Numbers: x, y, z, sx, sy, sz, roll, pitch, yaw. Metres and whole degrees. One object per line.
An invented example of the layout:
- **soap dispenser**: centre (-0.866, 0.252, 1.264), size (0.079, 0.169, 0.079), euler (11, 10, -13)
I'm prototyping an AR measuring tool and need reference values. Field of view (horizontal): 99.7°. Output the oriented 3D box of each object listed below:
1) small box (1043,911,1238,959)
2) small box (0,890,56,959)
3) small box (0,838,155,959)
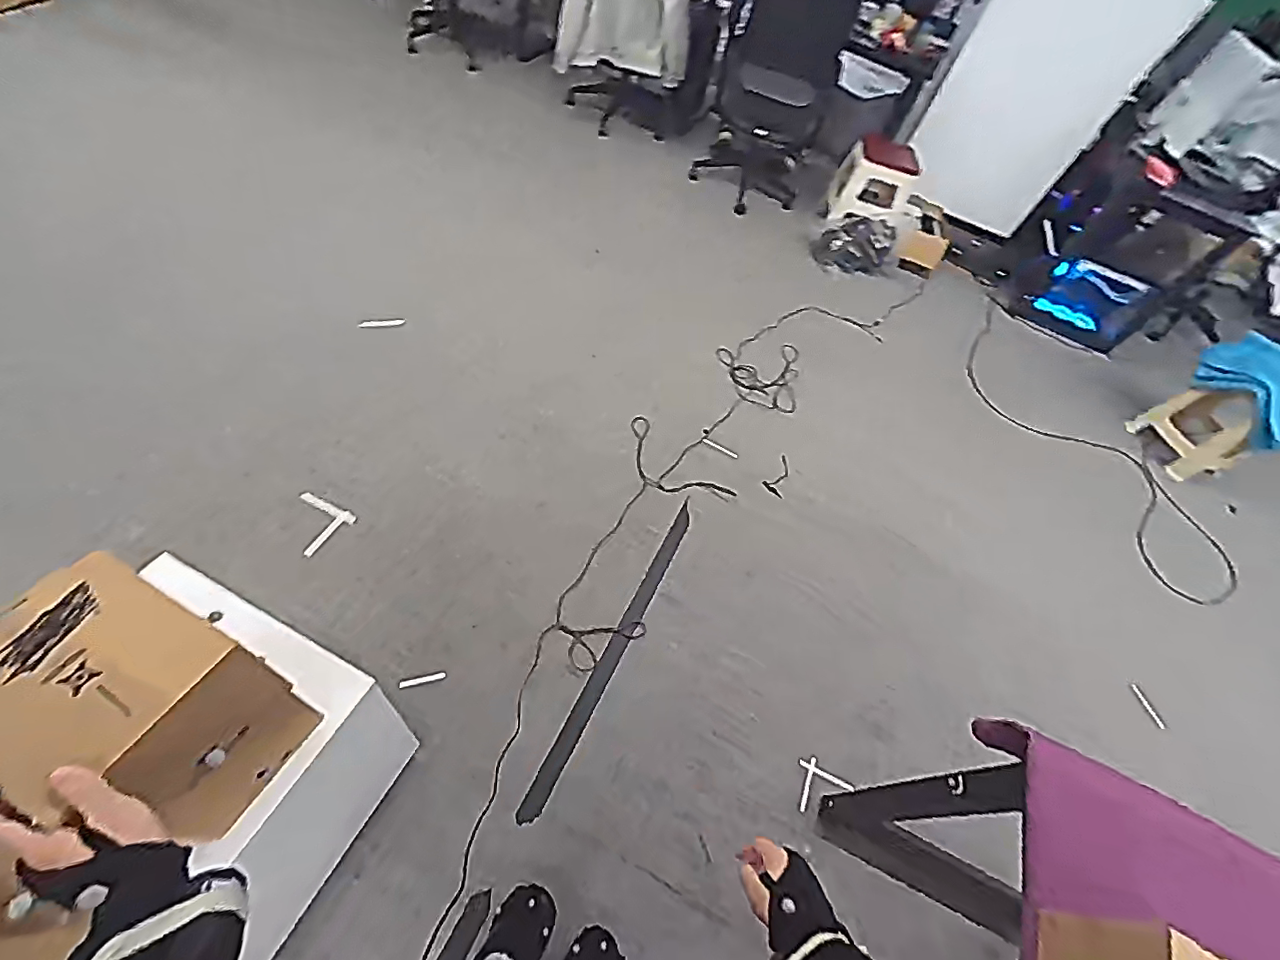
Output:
- **small box**: centre (0.548, 0.585, 0.550), size (0.168, 0.176, 0.179), euler (30, 54, 7)
- **small box**: centre (-0.601, 0.376, 0.379), size (0.179, 0.176, 0.168), euler (26, 54, 6)
- **small box**: centre (-0.635, 0.467, 0.509), size (0.179, 0.176, 0.168), euler (27, 55, 7)
